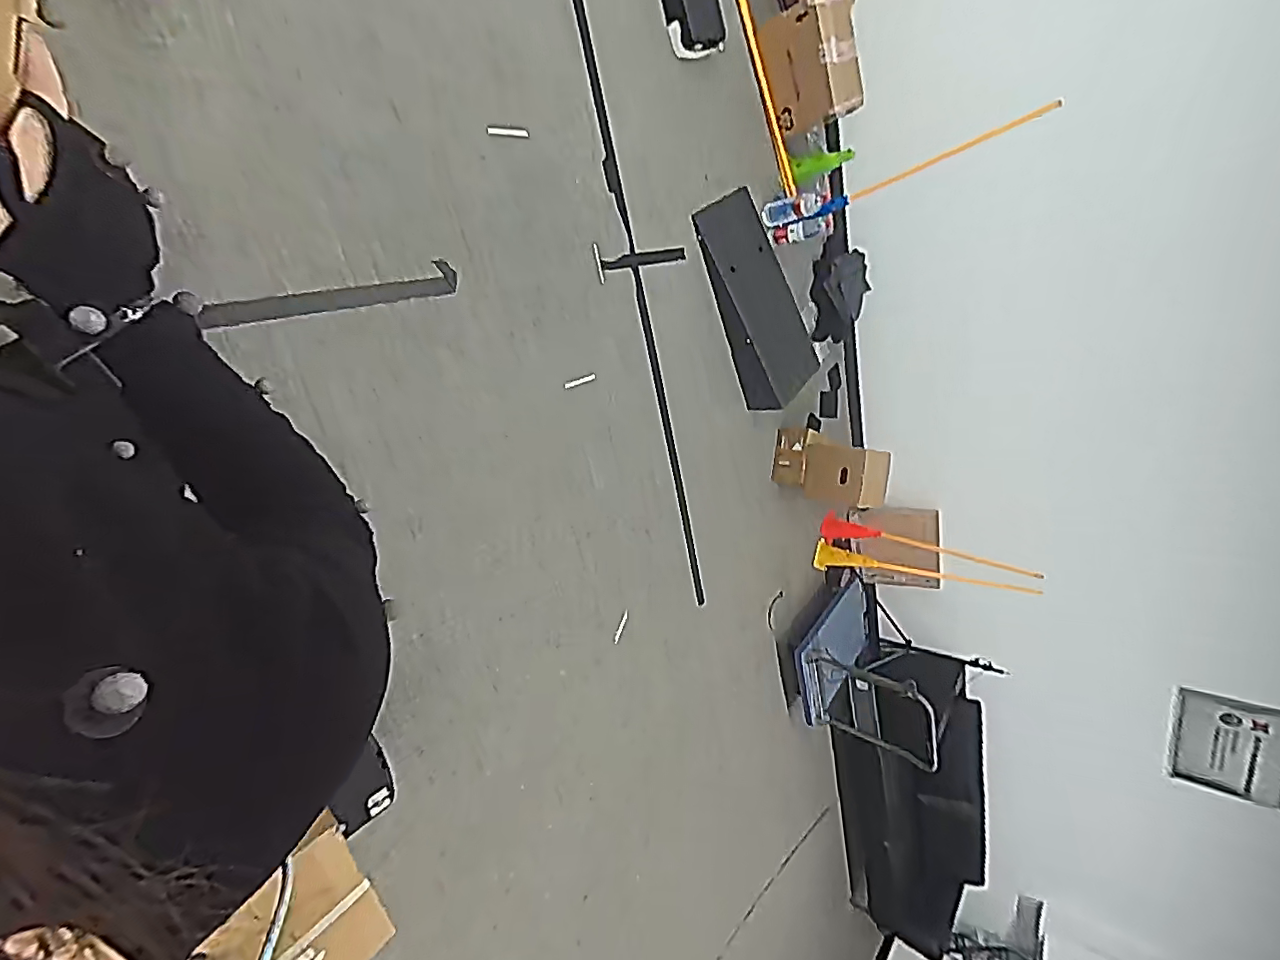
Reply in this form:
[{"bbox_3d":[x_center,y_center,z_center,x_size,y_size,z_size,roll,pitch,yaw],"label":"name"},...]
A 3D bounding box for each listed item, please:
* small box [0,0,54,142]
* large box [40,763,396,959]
[{"bbox_3d":[-0.418,-0.296,0.264,0.179,0.176,0.168,3,109,-50],"label":"small box"},{"bbox_3d":[-0.757,0.839,1.003,0.408,0.320,0.320,-32,117,-42],"label":"large box"}]
